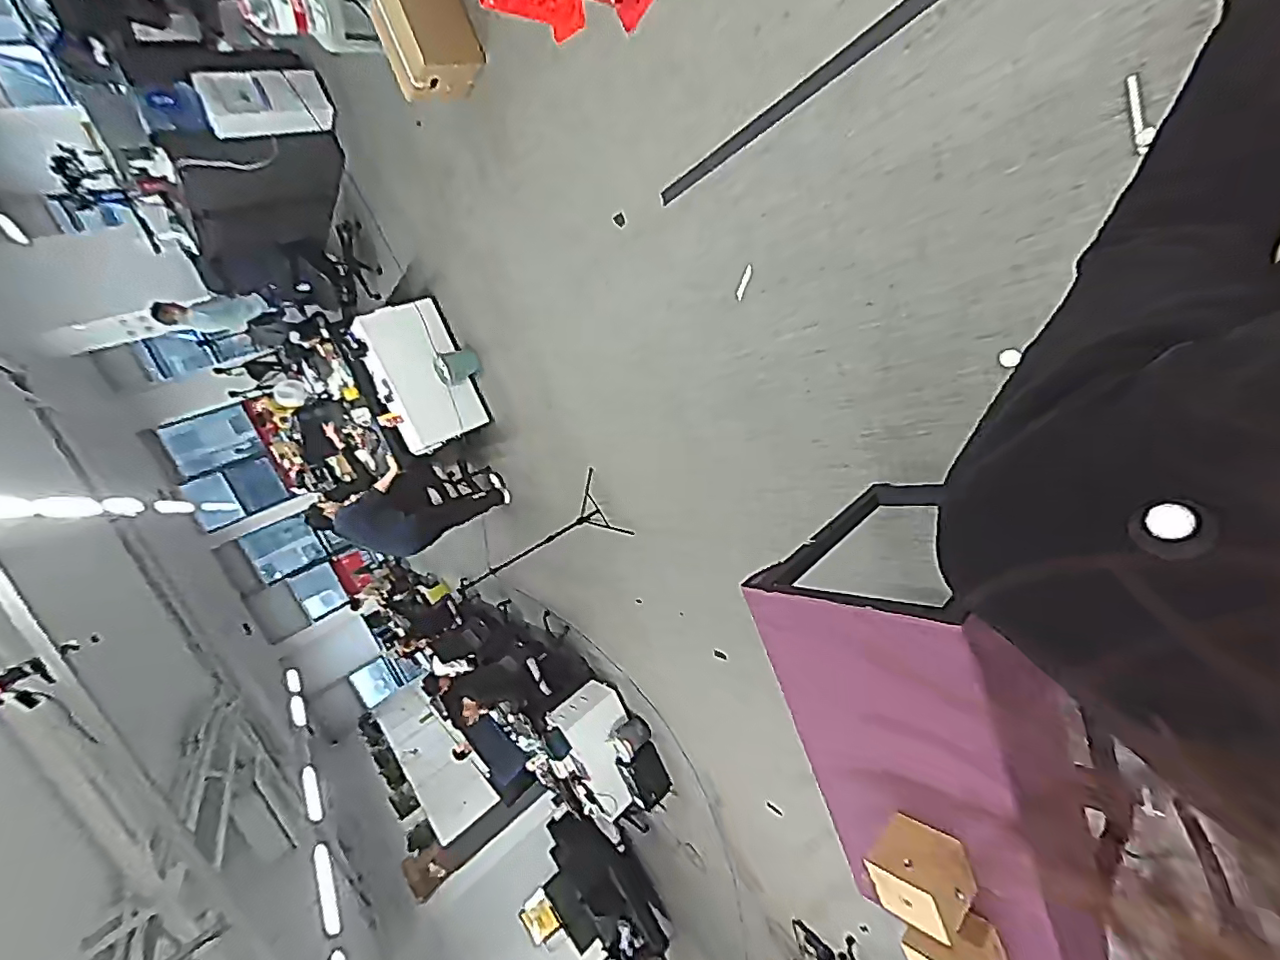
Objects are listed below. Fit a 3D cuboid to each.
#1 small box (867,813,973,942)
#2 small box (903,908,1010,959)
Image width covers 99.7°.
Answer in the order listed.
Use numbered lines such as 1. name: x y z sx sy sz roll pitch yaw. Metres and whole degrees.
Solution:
1. small box: 0.724 1.003 1.387 0.179 0.176 0.168 -7 110 56
2. small box: 0.839 1.249 1.428 0.179 0.176 0.168 -10 108 56
